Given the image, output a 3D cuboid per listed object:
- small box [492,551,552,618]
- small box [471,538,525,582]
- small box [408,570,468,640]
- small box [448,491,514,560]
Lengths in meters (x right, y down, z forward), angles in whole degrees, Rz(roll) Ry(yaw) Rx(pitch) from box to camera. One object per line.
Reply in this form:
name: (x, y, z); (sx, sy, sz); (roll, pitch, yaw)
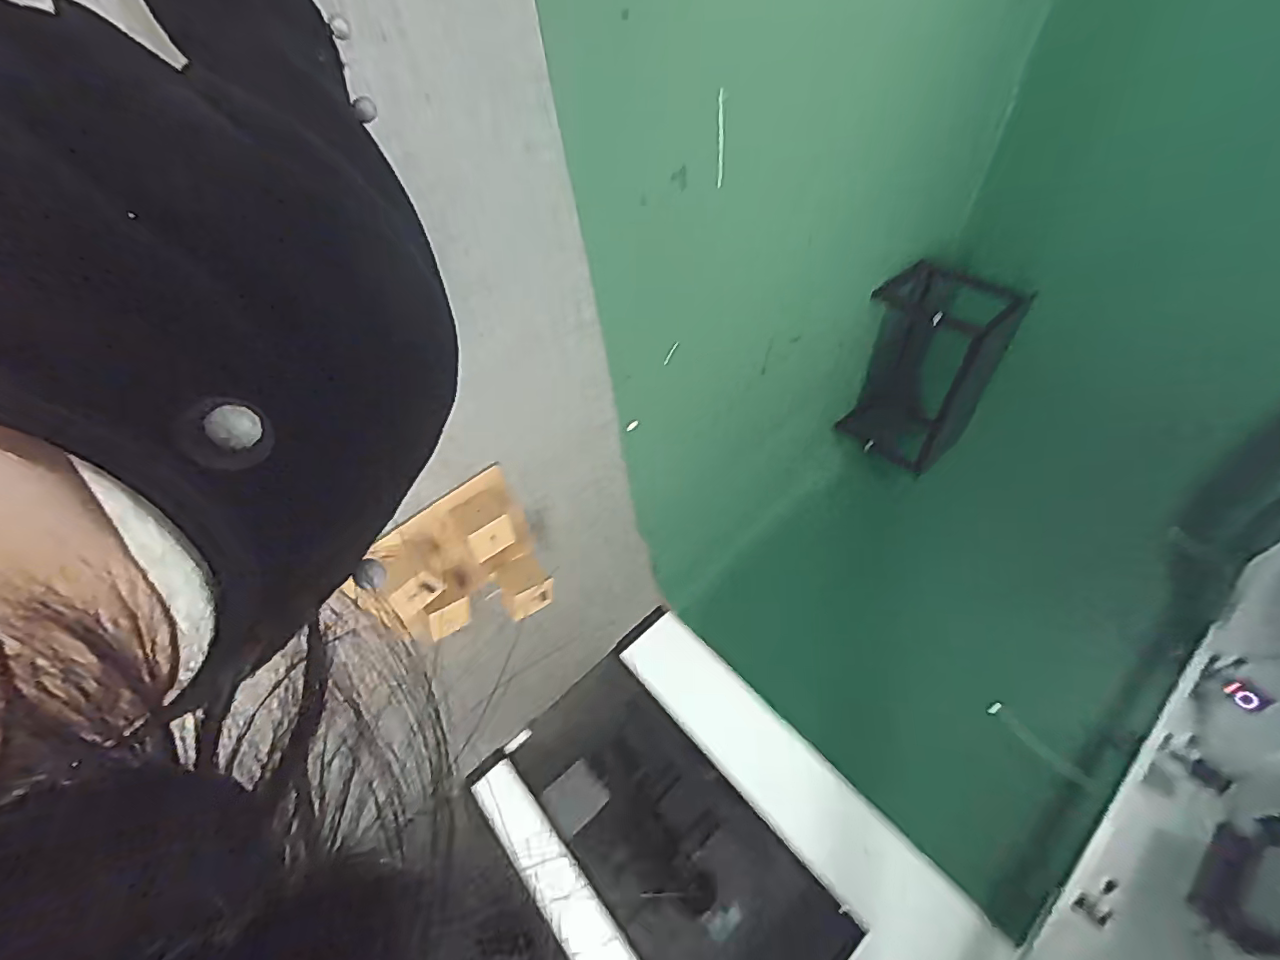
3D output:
small box: (-0.479, 0.418, 2.190); (0.179, 0.176, 0.168); (-23, 140, -35)
small box: (-0.586, 0.330, 2.278); (0.168, 0.176, 0.179); (-36, 146, -22)
small box: (-0.808, 0.495, 2.166); (0.168, 0.176, 0.179); (-24, 140, -36)
small box: (-0.611, 0.165, 2.073); (0.168, 0.176, 0.179); (-33, 145, -25)
